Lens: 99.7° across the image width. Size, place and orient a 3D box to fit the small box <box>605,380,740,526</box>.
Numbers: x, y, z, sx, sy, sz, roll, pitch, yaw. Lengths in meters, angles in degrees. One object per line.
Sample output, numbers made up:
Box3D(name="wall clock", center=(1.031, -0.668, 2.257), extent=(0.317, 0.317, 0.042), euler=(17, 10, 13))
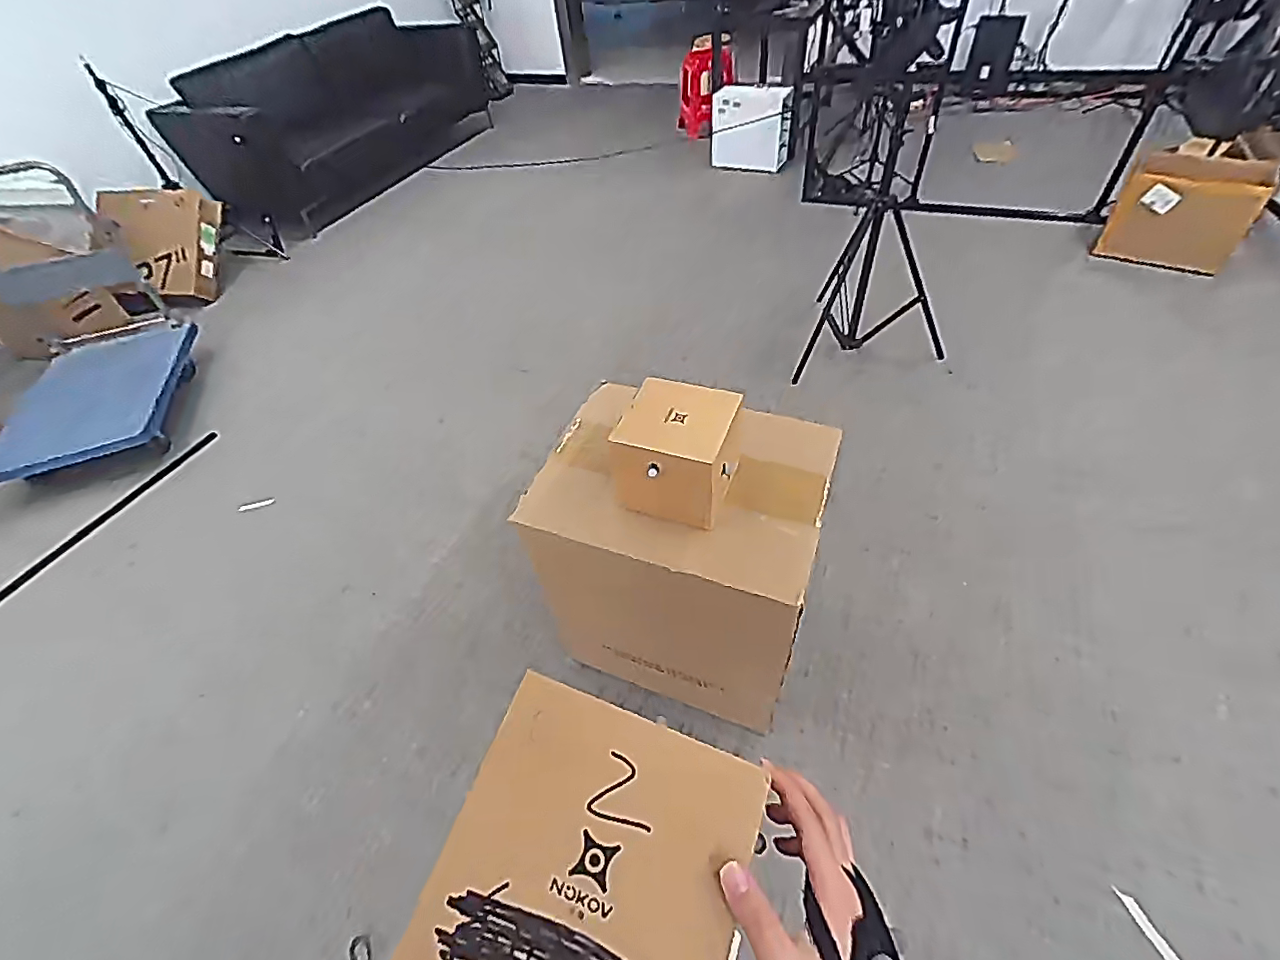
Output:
Box3D(name="small box", center=(0.062, -0.043, 0.921), extent=(0.179, 0.176, 0.168), euler=(14, 52, 19))
